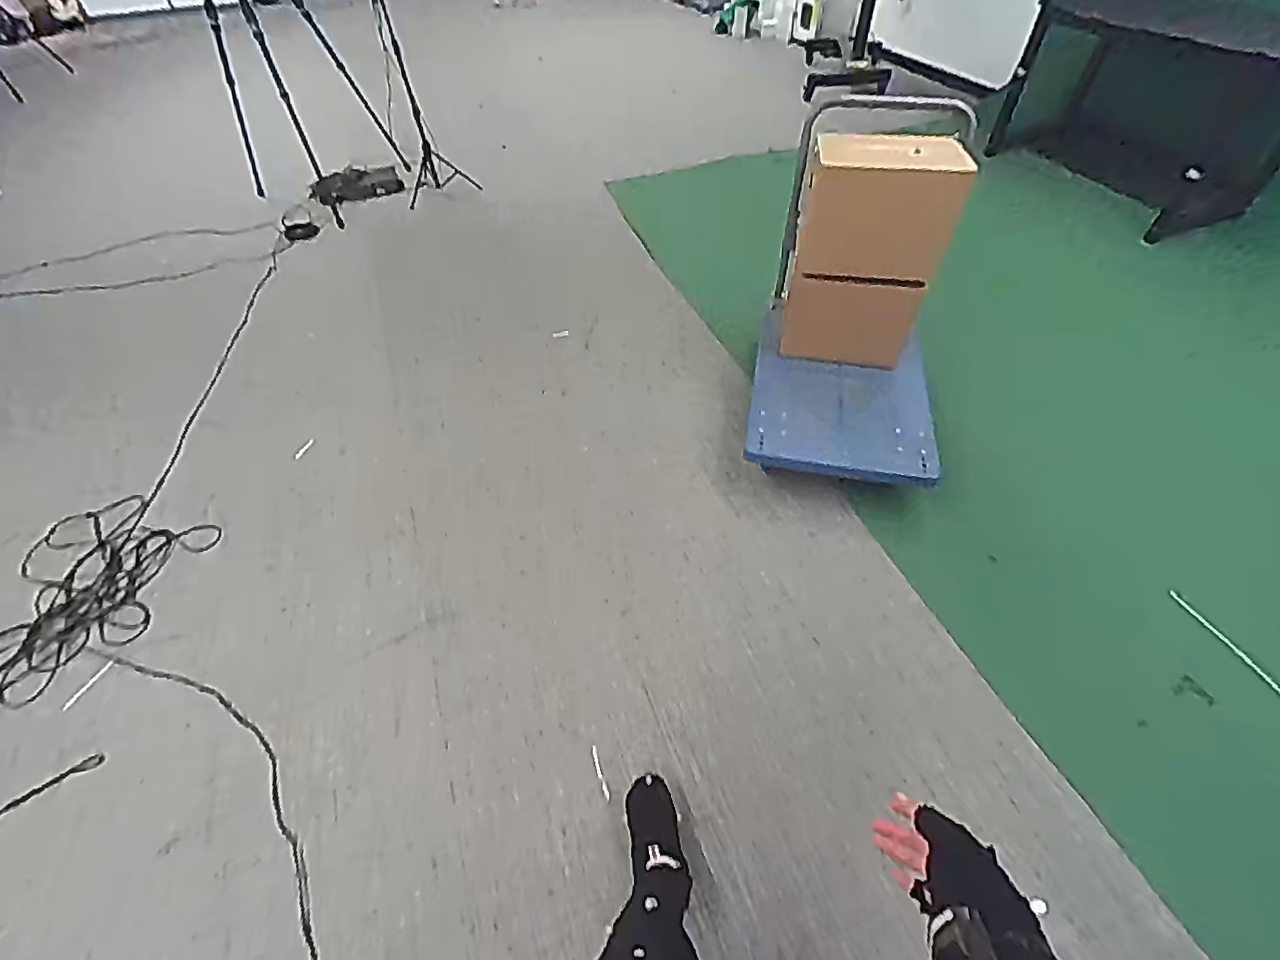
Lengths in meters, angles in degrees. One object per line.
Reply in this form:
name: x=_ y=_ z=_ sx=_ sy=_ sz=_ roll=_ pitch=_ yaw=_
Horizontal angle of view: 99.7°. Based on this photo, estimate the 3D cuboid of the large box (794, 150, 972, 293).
large box: x=0.710 y=-0.796 z=1.661 sx=0.408 sy=0.320 sz=0.320 roll=8 pitch=46 yaw=8
